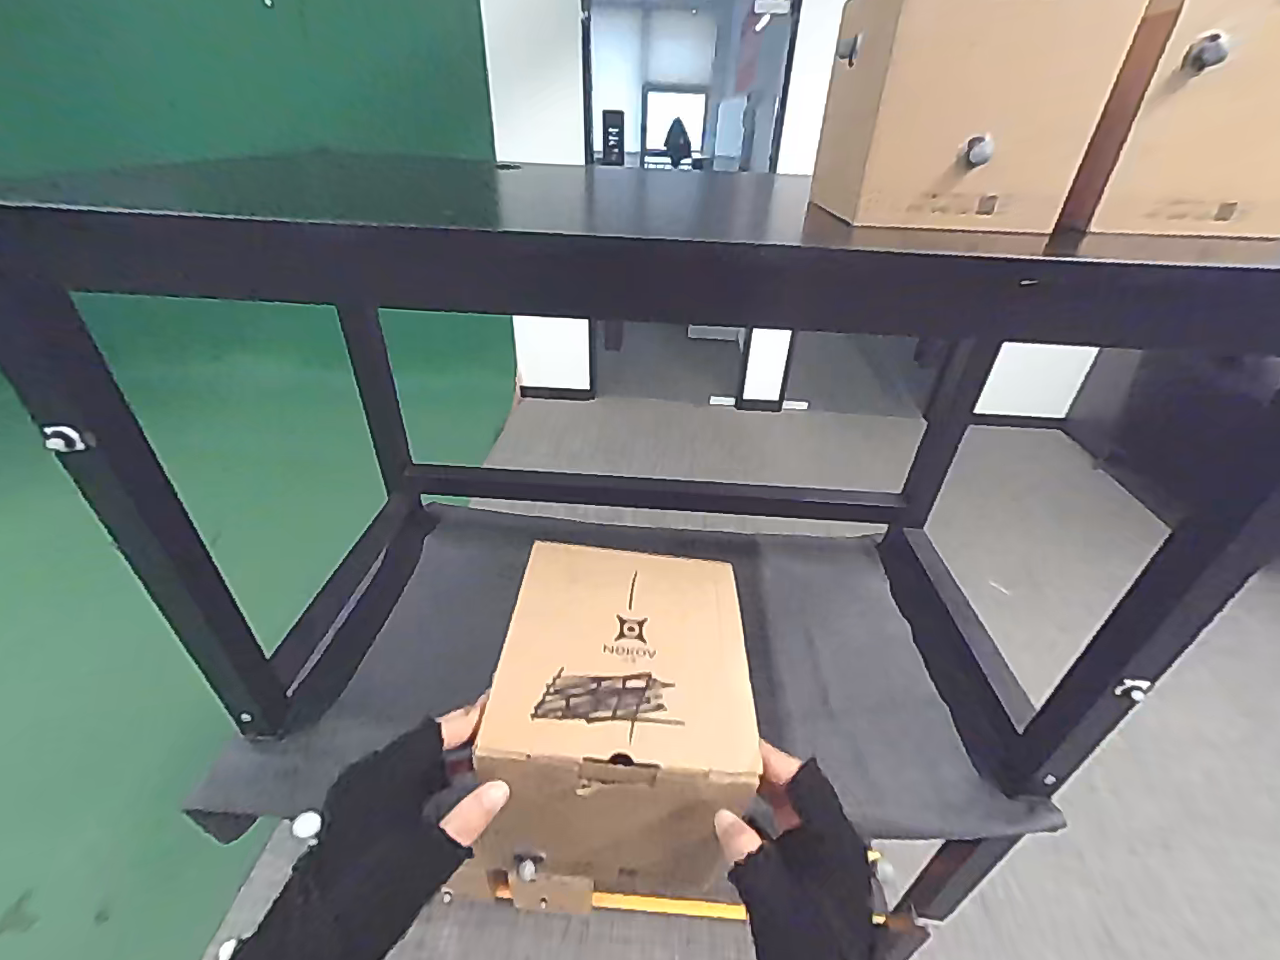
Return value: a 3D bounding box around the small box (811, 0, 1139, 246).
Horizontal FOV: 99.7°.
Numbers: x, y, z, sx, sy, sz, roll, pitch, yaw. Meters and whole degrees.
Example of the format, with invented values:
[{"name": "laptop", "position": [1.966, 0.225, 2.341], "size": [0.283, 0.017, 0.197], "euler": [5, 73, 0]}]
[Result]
[{"name": "small box", "position": [0.262, -0.317, 0.481], "size": [0.168, 0.176, 0.179], "euler": [3, 34, 2]}]
